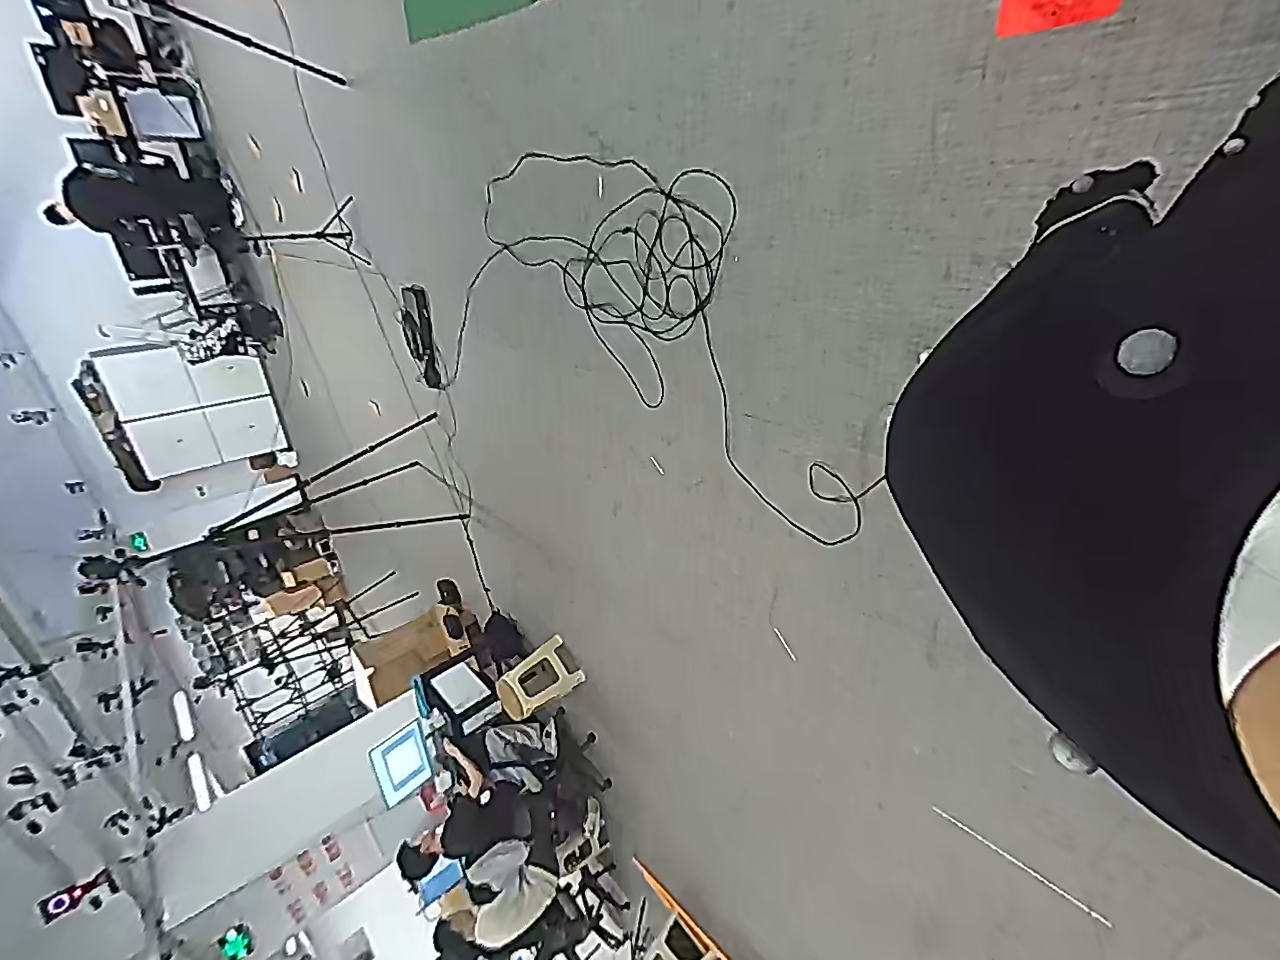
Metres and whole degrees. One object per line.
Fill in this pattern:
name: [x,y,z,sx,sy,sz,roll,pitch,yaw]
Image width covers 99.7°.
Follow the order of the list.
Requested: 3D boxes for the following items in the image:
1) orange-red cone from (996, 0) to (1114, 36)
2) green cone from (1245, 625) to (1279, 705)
orange-red cone: [0.660,-0.898,0.892,0.198,0.360,0.199,26,128,41]
green cone: [1.220,0.442,0.943,0.202,0.368,0.200,24,126,43]
